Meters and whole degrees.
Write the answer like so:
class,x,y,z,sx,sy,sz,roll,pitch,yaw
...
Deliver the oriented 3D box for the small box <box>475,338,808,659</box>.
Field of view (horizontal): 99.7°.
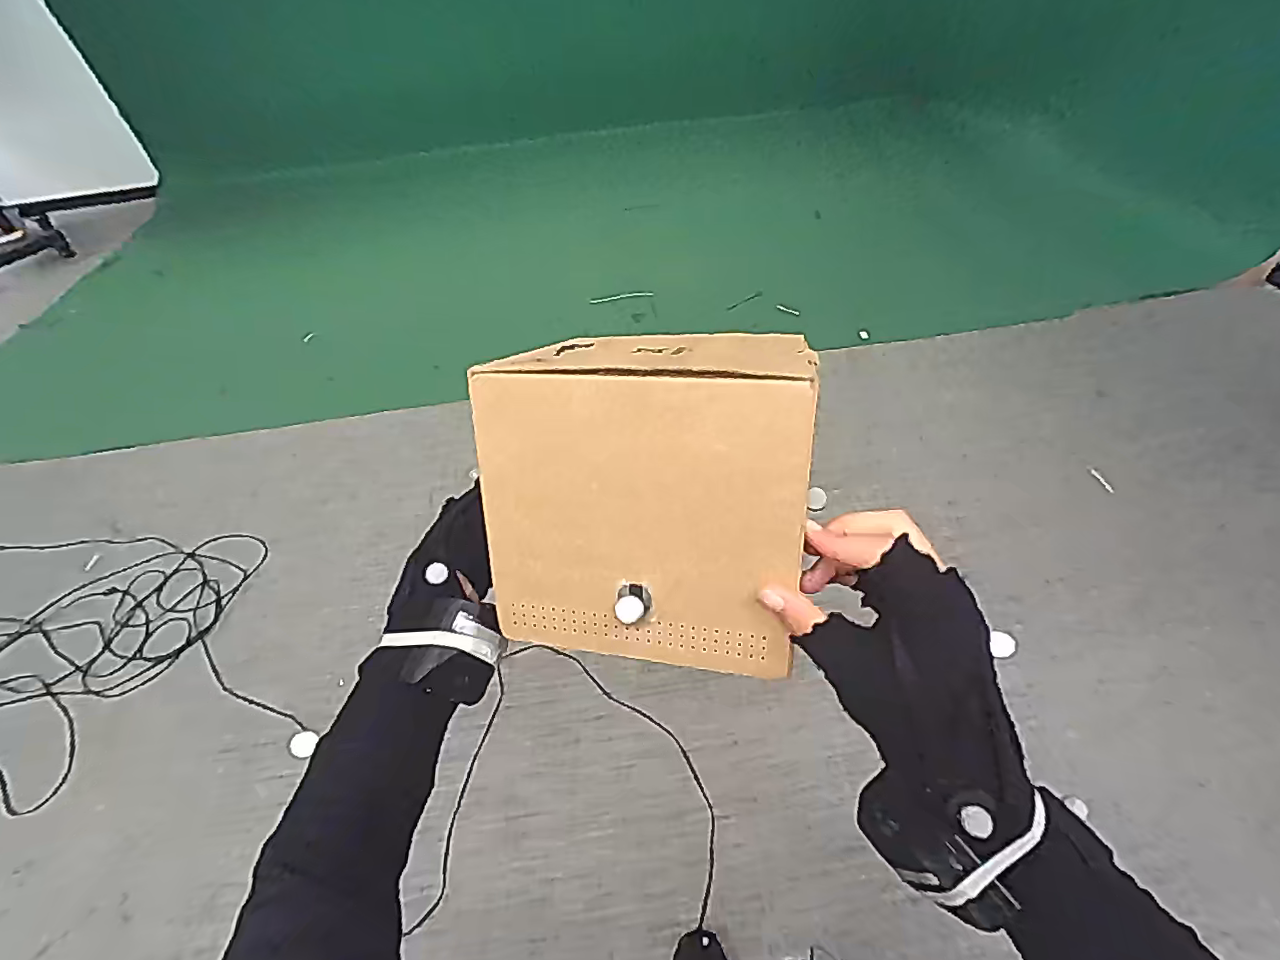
class,x,y,z,sx,sy,sz,roll,pitch,yaw
small box,0.014,-0.002,0.370,0.179,0.176,0.168,4,19,14
